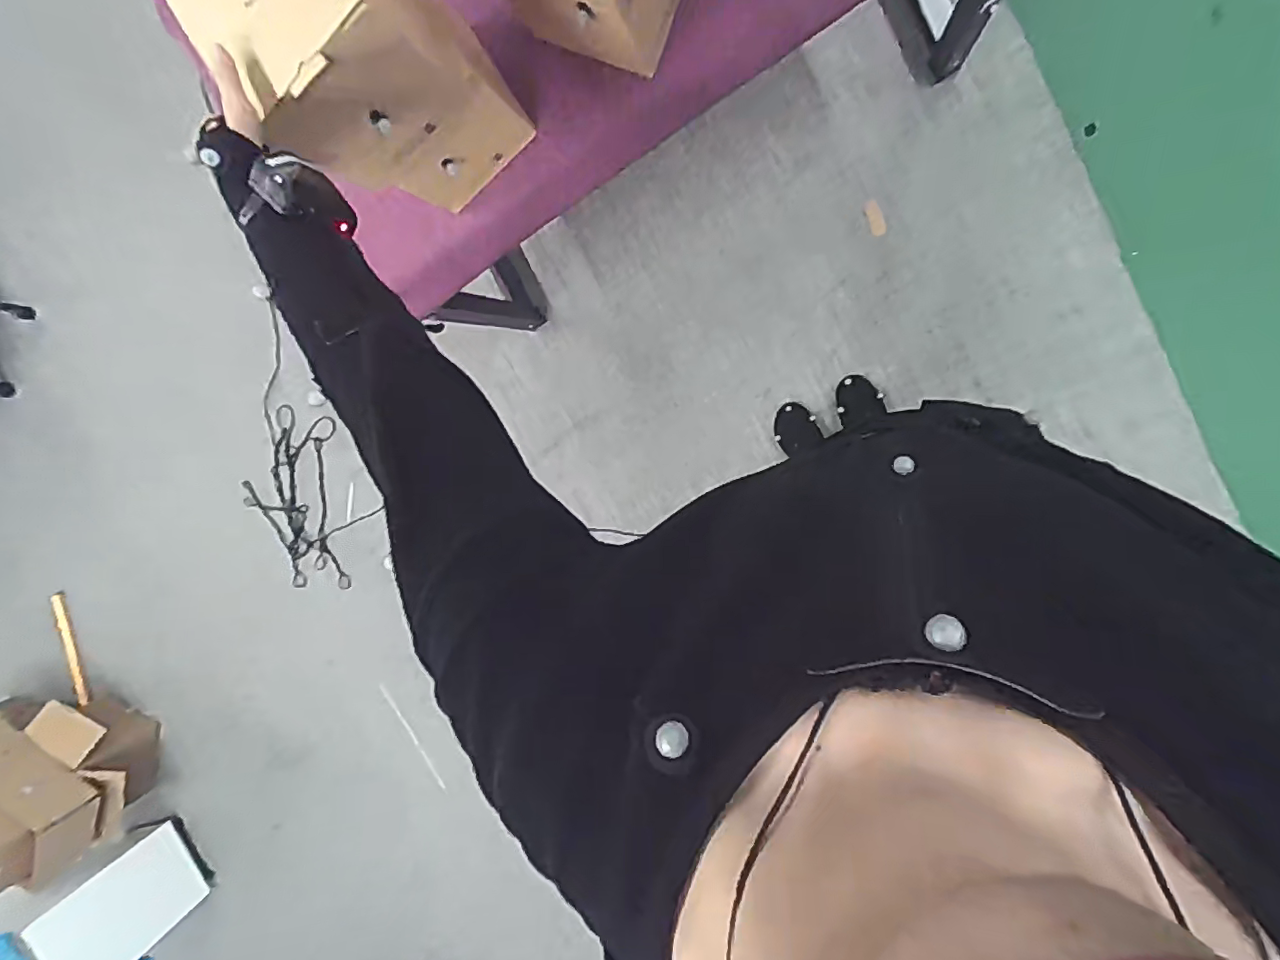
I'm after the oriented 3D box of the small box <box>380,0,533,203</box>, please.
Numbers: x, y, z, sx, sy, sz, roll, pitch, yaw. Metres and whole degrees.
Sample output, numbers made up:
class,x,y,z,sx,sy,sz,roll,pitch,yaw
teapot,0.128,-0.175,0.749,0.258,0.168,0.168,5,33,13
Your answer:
class,x,y,z,sx,sy,sz,roll,pitch,yaw
small box,-0.269,-0.486,0.691,0.168,0.176,0.179,-33,91,19

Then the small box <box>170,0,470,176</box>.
class,x,y,z,sx,sy,sz,roll,pitch,yaw
small box,-0.305,-0.437,0.537,0.168,0.176,0.179,-29,93,18

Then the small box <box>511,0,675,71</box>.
class,x,y,z,sx,sy,sz,roll,pitch,yaw
small box,-0.049,-0.603,0.603,0.179,0.176,0.168,26,107,9
